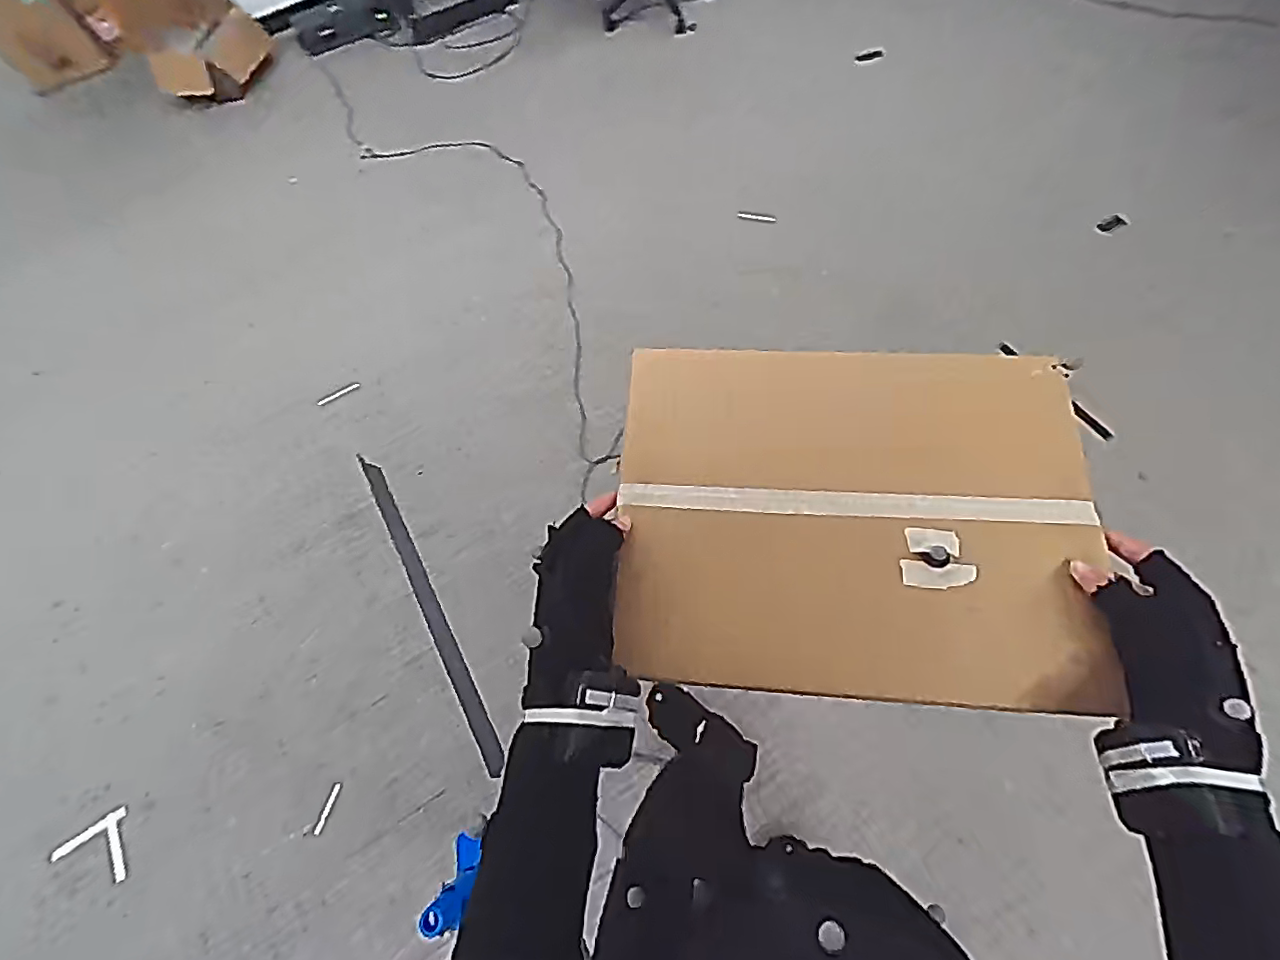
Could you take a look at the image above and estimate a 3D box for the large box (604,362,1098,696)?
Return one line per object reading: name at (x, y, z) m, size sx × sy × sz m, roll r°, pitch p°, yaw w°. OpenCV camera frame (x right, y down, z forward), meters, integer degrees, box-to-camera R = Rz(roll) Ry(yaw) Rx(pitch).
large box at (0.182, 0.077, 0.633) m, size 0.408 × 0.320 × 0.320 m, roll 2°, pitch 70°, yaw 6°
